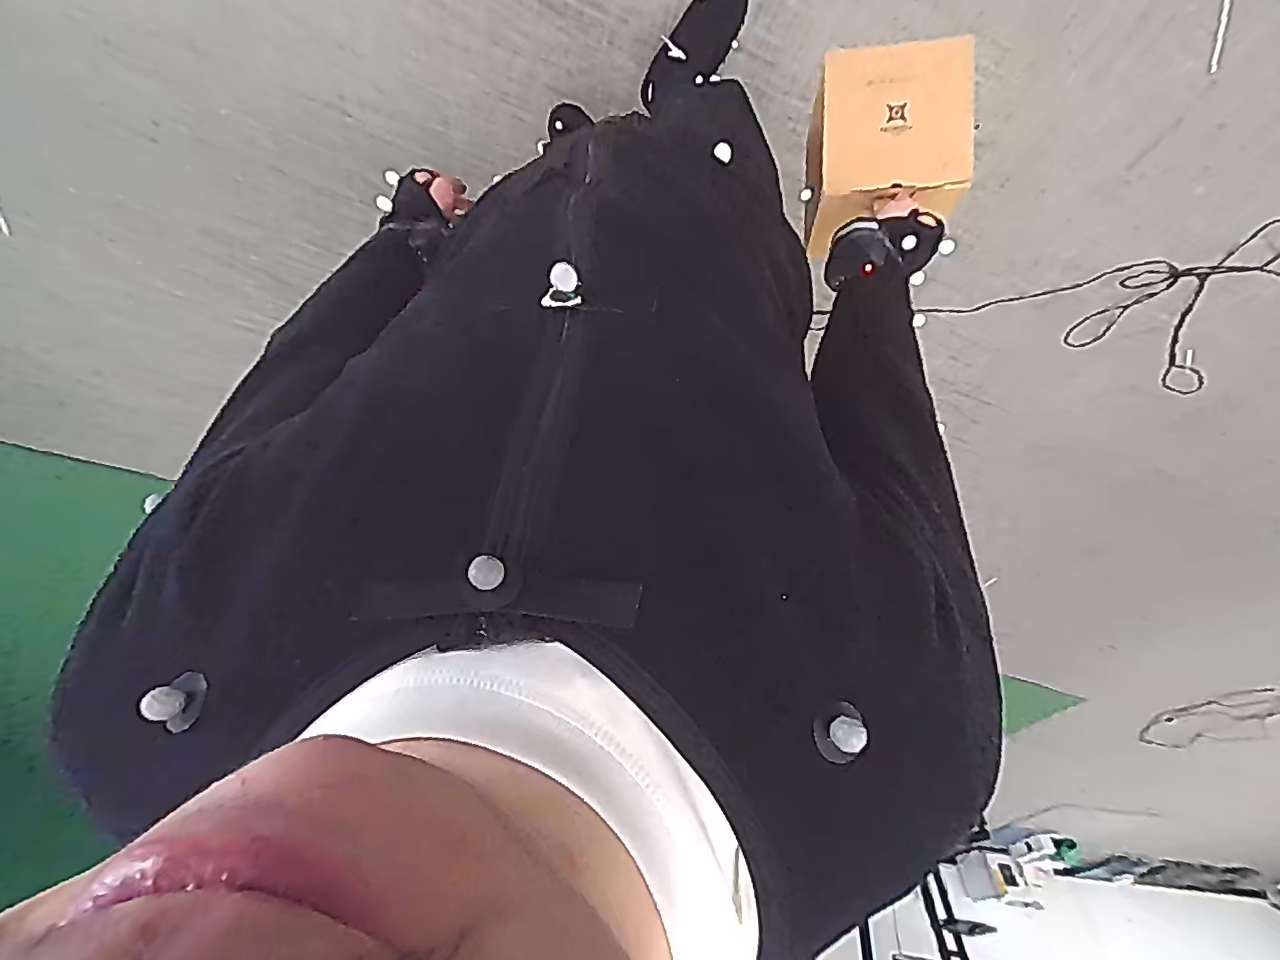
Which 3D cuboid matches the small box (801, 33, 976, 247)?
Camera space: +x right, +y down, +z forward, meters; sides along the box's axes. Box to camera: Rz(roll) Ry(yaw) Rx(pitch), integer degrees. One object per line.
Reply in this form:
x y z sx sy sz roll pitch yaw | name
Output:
0.305 -0.416 0.696 0.168 0.179 0.176 2 177 8 | small box
